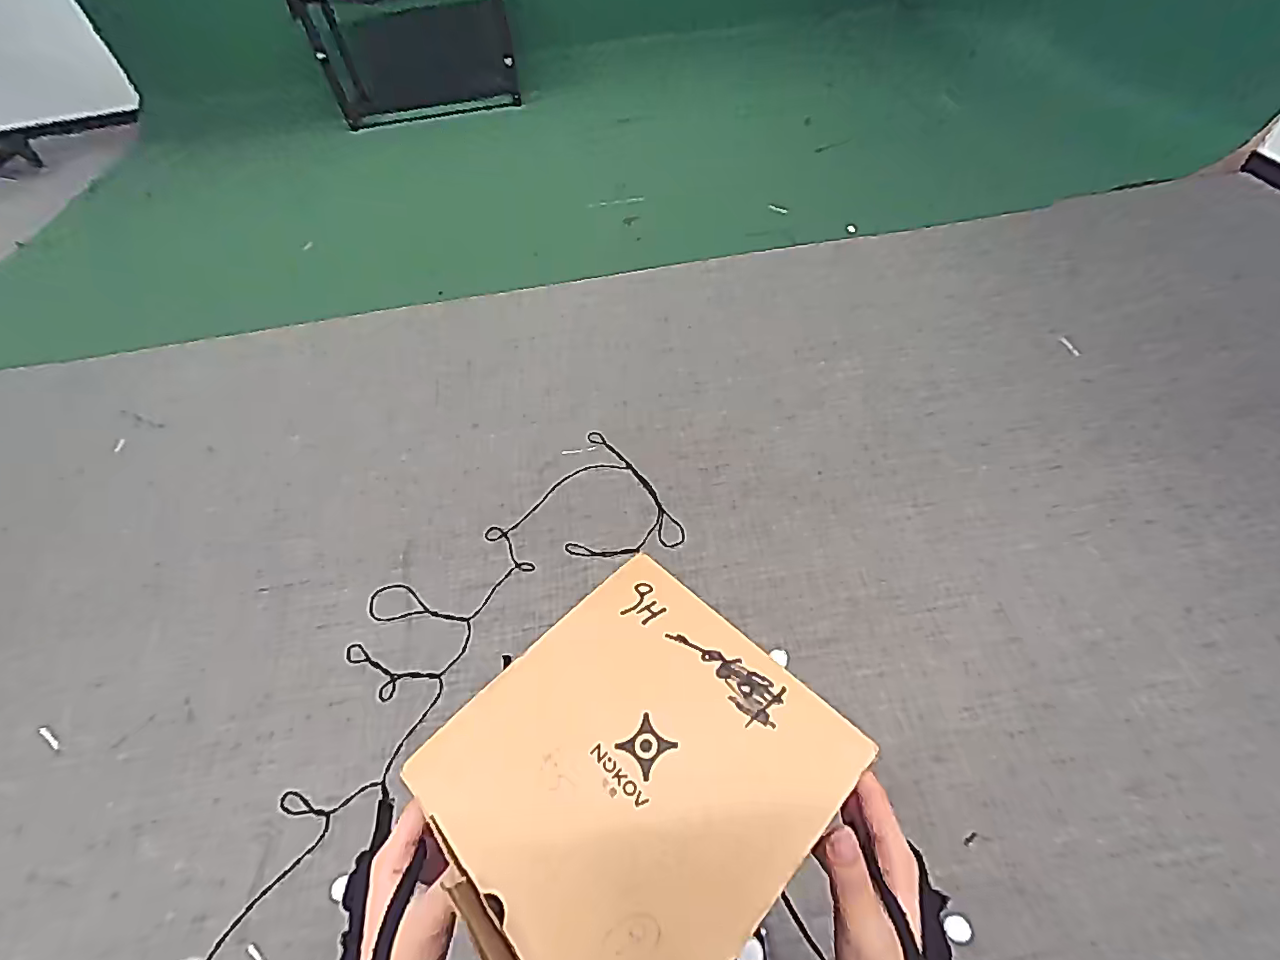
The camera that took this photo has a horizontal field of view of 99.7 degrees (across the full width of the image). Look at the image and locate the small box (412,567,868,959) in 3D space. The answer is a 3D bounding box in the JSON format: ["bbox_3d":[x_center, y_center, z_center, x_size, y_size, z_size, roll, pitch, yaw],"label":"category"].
[{"bbox_3d":[0.006,0.196,0.331,0.168,0.176,0.179,35,63,30],"label":"small box"}]
